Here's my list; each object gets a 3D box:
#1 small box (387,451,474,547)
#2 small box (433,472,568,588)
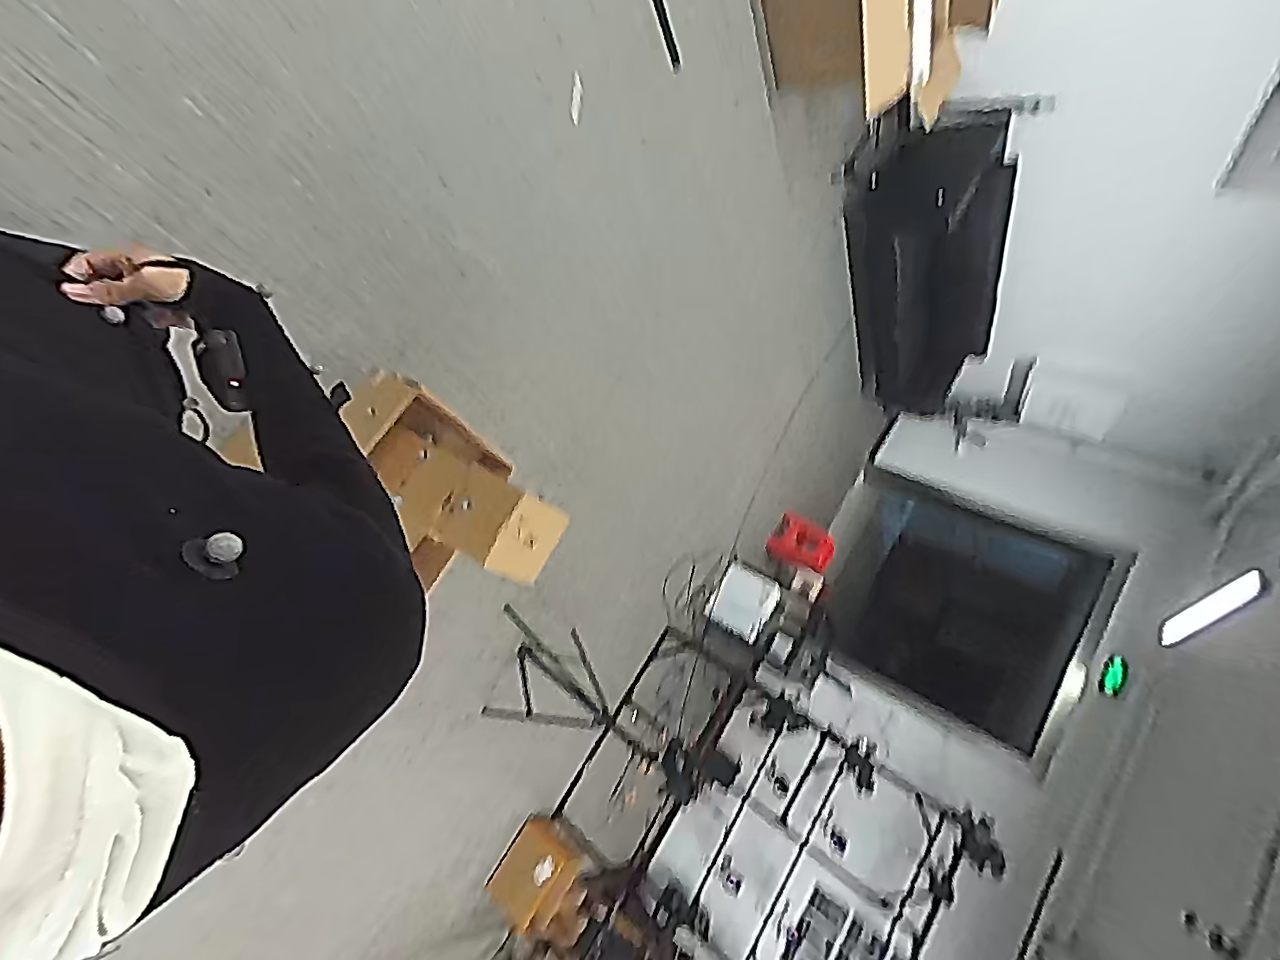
[{"bbox_3d":[-0.427,0.053,1.220,0.168,0.176,0.179,-59,148,-10],"label":"small box"},{"bbox_3d":[-0.291,0.103,1.139,0.168,0.176,0.179,-60,148,-8],"label":"small box"}]
